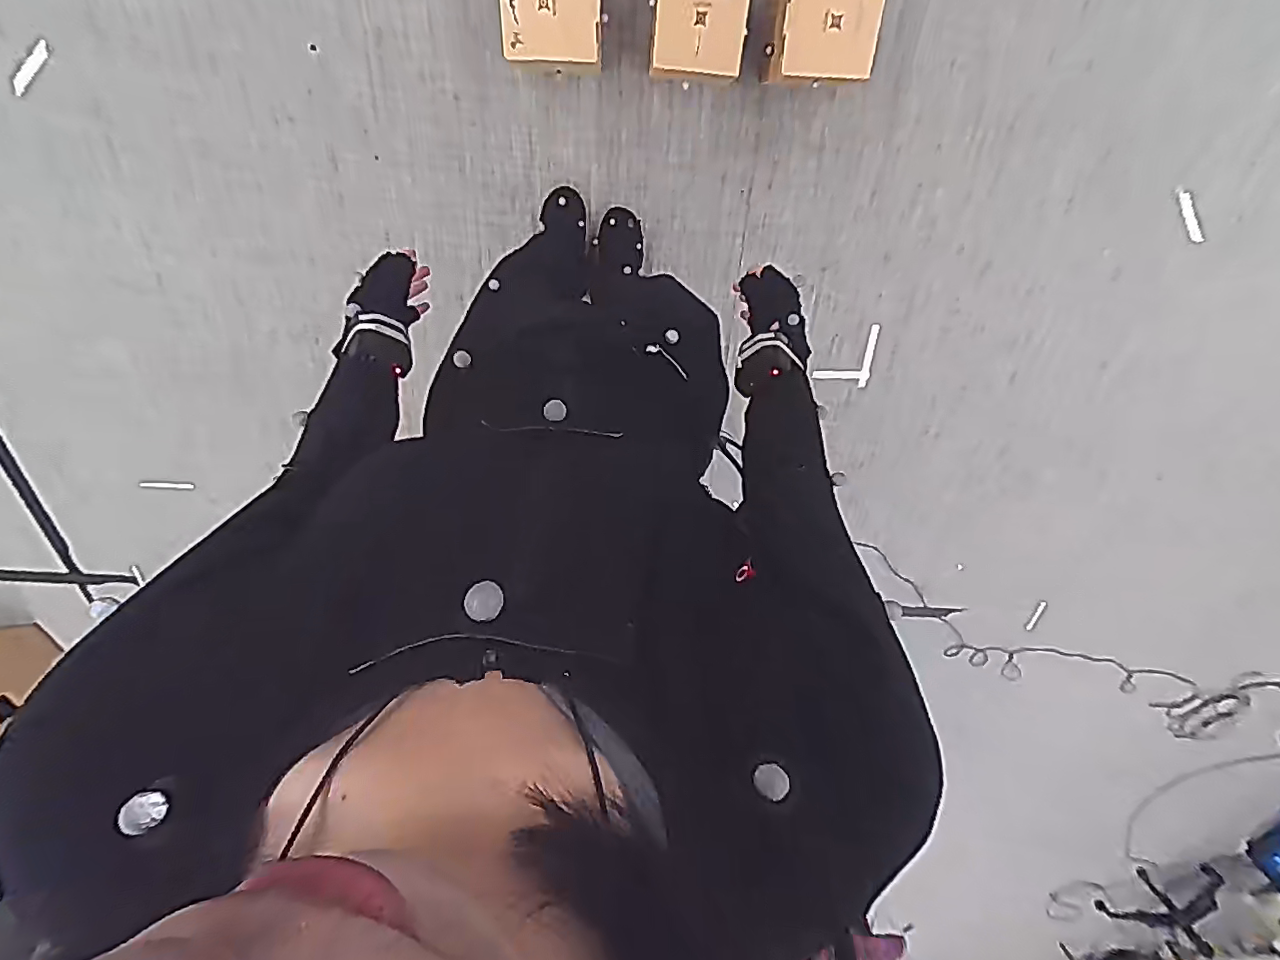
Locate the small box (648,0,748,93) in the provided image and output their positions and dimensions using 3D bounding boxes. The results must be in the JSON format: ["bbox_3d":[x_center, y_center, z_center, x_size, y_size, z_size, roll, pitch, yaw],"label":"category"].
[{"bbox_3d":[0.107,-0.873,1.048,0.168,0.176,0.179,4,121,-4],"label":"small box"}]

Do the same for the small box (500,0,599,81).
[{"bbox_3d":[-0.166,-0.880,1.039,0.179,0.176,0.168,1,120,-3],"label":"small box"}]

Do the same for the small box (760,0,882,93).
[{"bbox_3d":[0.345,-0.868,1.060,0.179,0.176,0.168,0,122,-3],"label":"small box"}]
